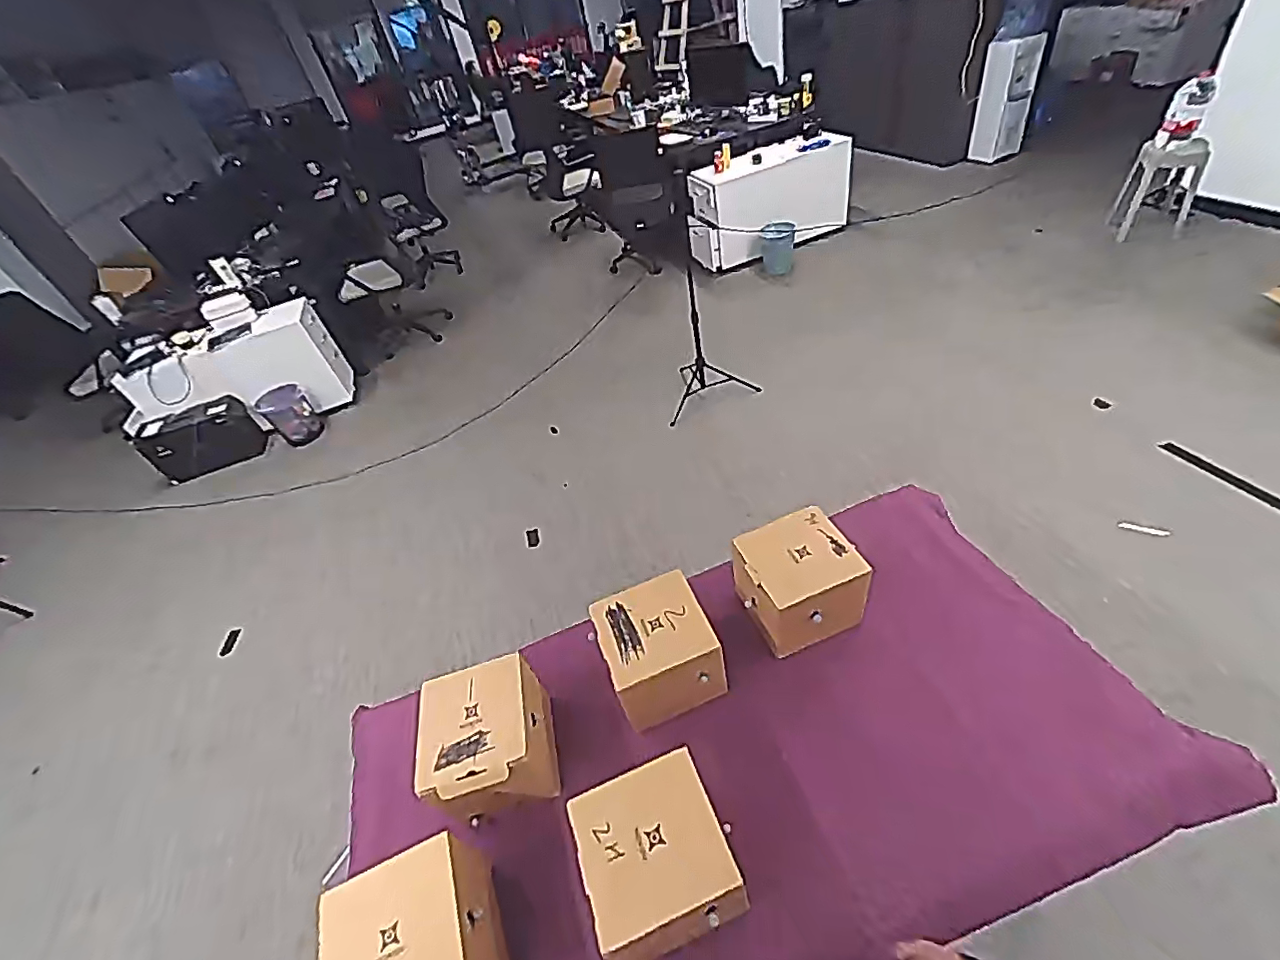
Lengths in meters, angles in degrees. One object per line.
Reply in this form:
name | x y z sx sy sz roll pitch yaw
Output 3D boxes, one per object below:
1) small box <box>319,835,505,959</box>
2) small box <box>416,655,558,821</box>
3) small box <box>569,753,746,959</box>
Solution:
small box | -0.278 0.600 0.681 0.168 0.176 0.179 -22 43 -12
small box | -0.238 0.418 0.866 0.168 0.176 0.179 -17 42 -4
small box | 0.027 0.498 0.708 0.179 0.176 0.168 -21 43 -7
